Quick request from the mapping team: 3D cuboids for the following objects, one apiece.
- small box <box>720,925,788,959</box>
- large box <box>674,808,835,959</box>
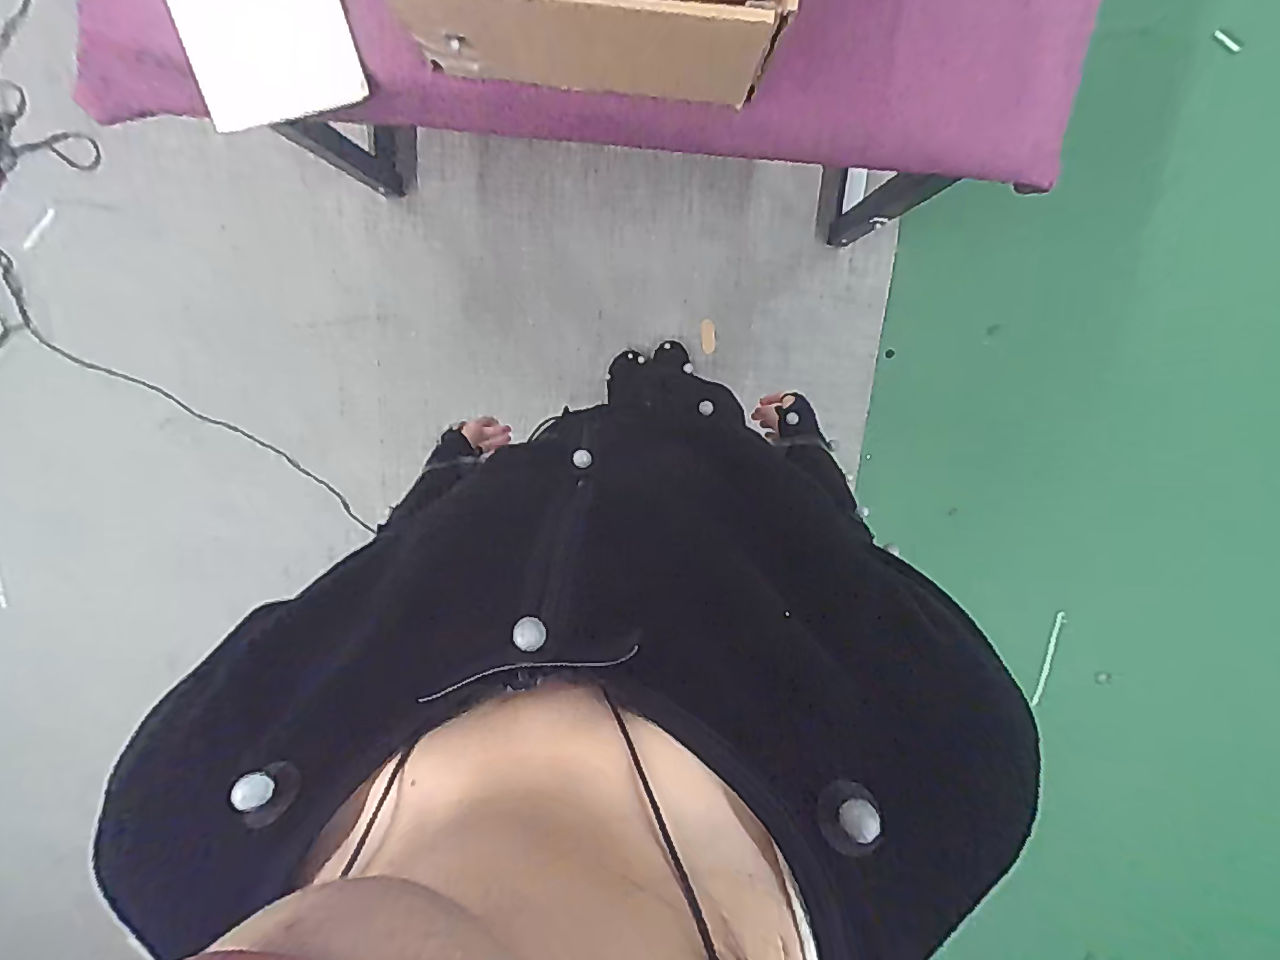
[{"bbox_3d":[0.300,1.296,1.397,0.168,0.176,0.179,-4,102,2],"label":"small box"},{"bbox_3d":[0.332,1.269,1.644,0.408,0.320,0.320,-10,103,1],"label":"large box"}]
